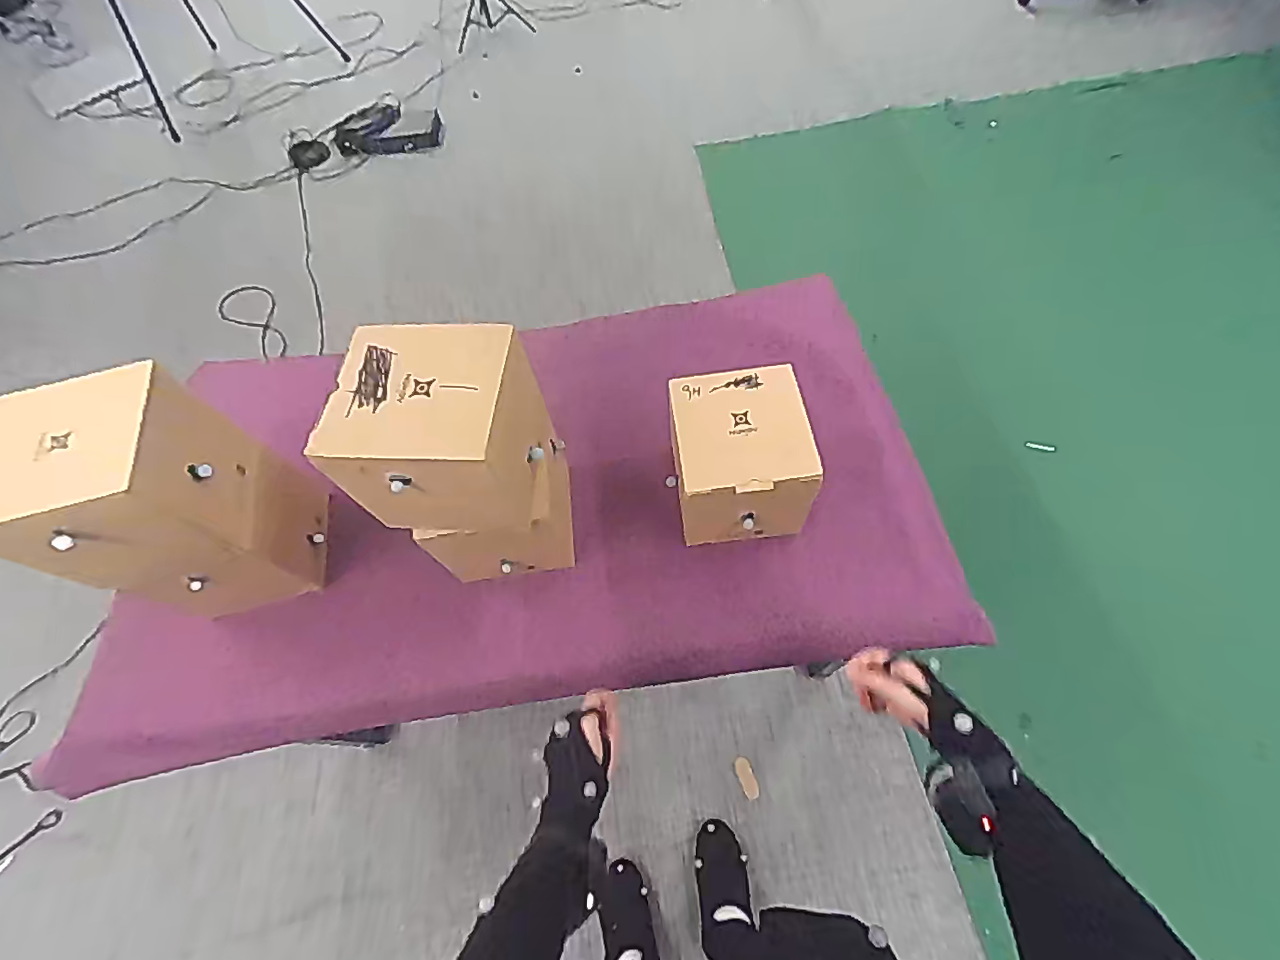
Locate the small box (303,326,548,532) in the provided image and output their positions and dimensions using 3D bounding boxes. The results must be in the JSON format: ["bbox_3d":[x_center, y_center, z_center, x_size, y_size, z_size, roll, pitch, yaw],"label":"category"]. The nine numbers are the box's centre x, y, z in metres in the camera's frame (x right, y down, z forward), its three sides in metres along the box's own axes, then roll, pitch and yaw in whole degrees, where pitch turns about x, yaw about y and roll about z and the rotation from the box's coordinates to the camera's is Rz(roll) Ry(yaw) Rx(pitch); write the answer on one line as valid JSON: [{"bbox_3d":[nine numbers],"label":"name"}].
[{"bbox_3d":[-0.215,-0.049,0.599,0.179,0.176,0.168,2,62,5],"label":"small box"}]

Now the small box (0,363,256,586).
[{"bbox_3d":[-0.573,0.002,0.606,0.179,0.176,0.168,-15,63,-3],"label":"small box"}]

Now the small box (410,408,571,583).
[{"bbox_3d":[-0.192,0.025,0.744,0.168,0.176,0.179,-8,61,1],"label":"small box"}]

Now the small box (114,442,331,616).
[{"bbox_3d":[-0.567,0.076,0.750,0.179,0.176,0.168,-13,62,-3],"label":"small box"}]

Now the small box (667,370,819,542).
[{"bbox_3d":[0.131,-0.023,0.741,0.168,0.176,0.179,-7,61,2],"label":"small box"}]
